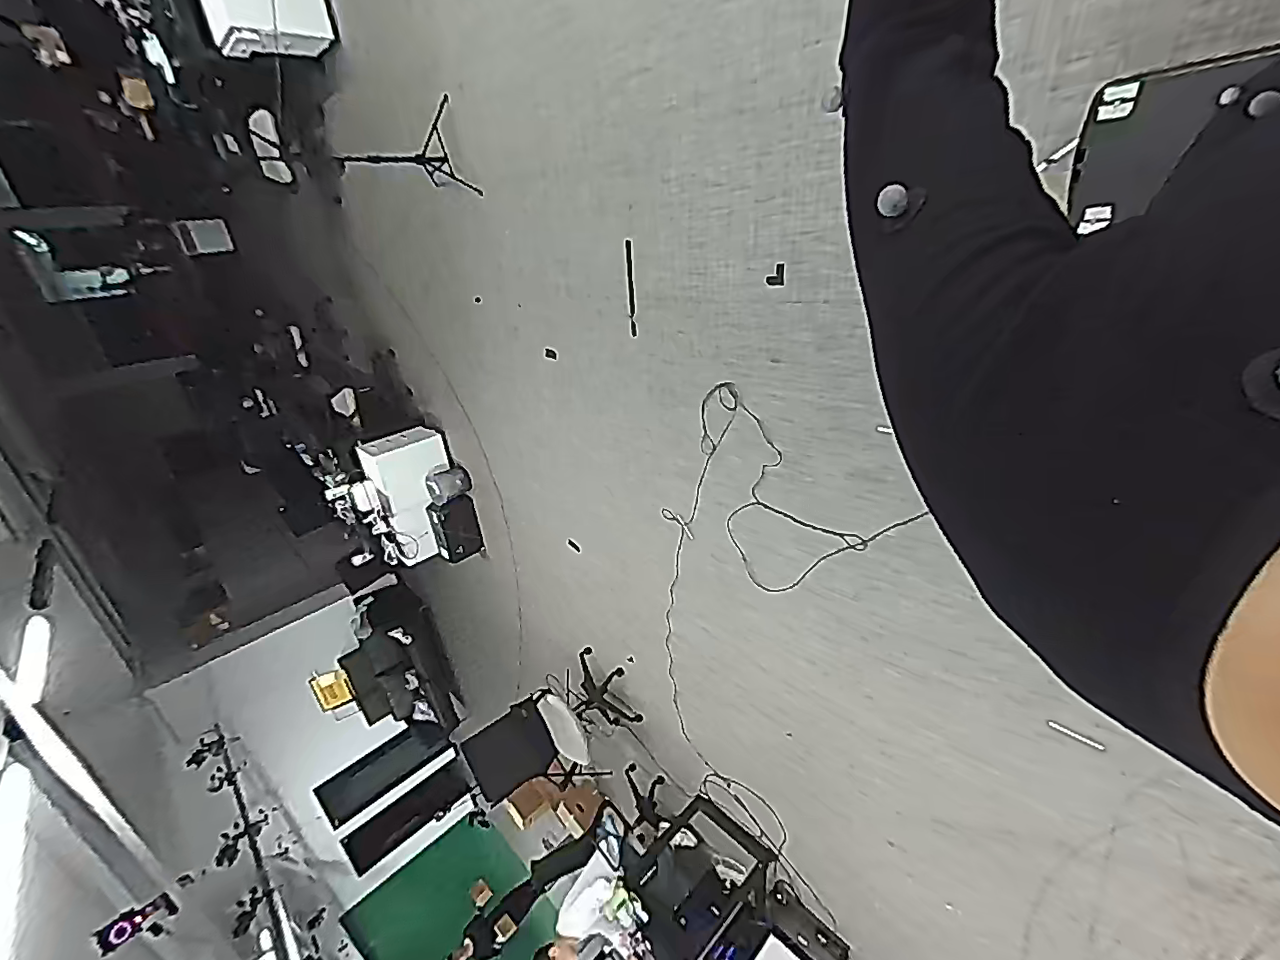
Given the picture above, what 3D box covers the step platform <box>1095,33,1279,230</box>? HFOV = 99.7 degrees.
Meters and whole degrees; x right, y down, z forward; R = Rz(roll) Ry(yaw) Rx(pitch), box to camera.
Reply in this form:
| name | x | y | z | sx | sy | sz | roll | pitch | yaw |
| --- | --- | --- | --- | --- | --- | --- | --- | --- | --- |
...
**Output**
| name | x | y | z | sx | sy | sz | roll | pitch | yaw |
| --- | --- | --- | --- | --- | --- | --- | --- | --- | --- |
| step platform | 1.185 | -0.592 | 0.876 | 0.684 | 0.204 | 0.286 | 17 | 124 | 43 |
